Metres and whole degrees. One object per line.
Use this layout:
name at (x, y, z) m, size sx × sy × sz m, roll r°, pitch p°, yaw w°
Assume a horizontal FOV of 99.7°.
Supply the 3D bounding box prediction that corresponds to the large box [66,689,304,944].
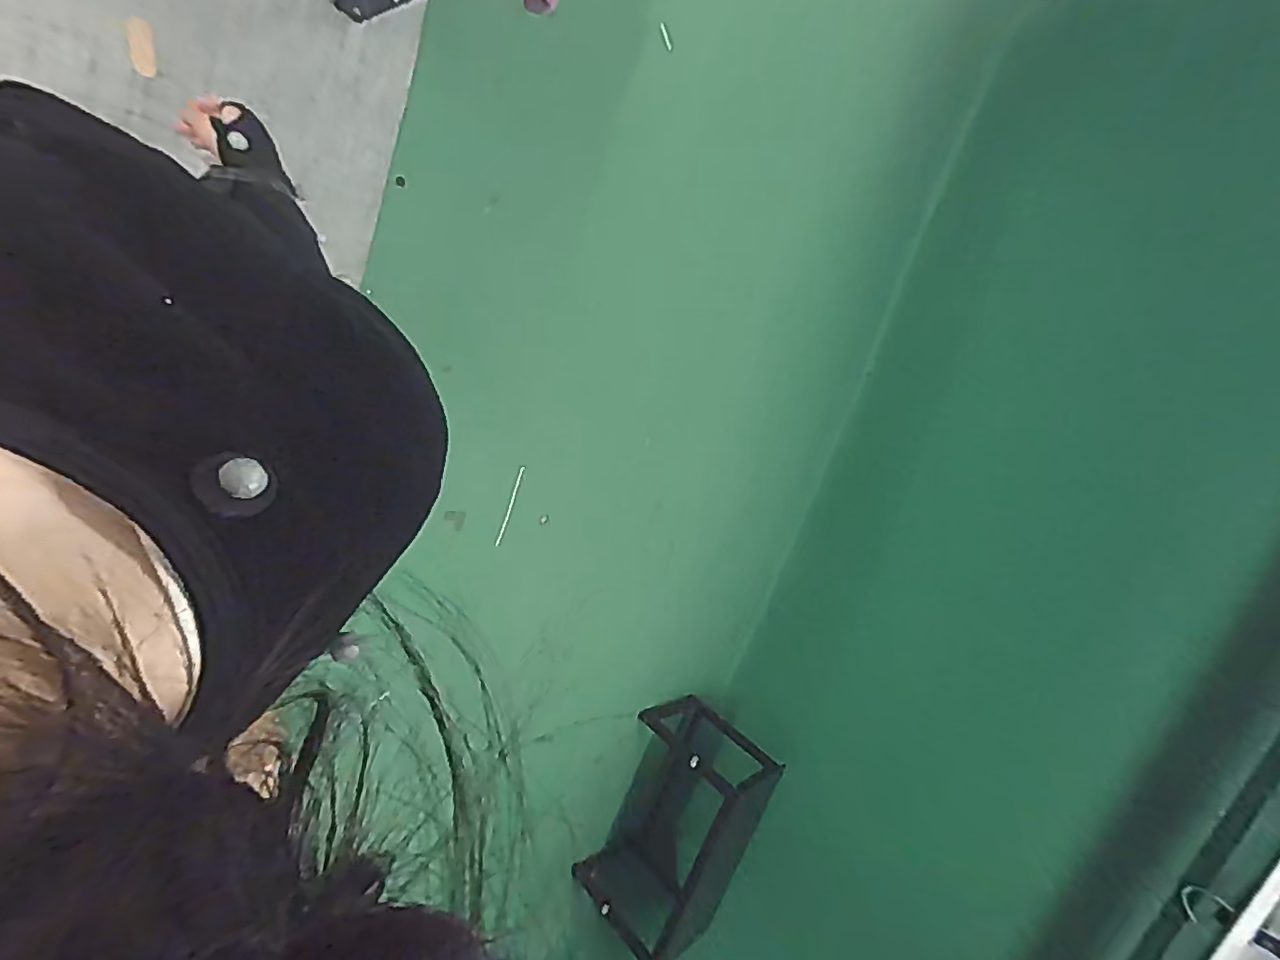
large box at (-1.146, 0.819, 1.386) m, size 0.408 × 0.320 × 0.320 m, roll -13°, pitch 121°, yaw -45°
